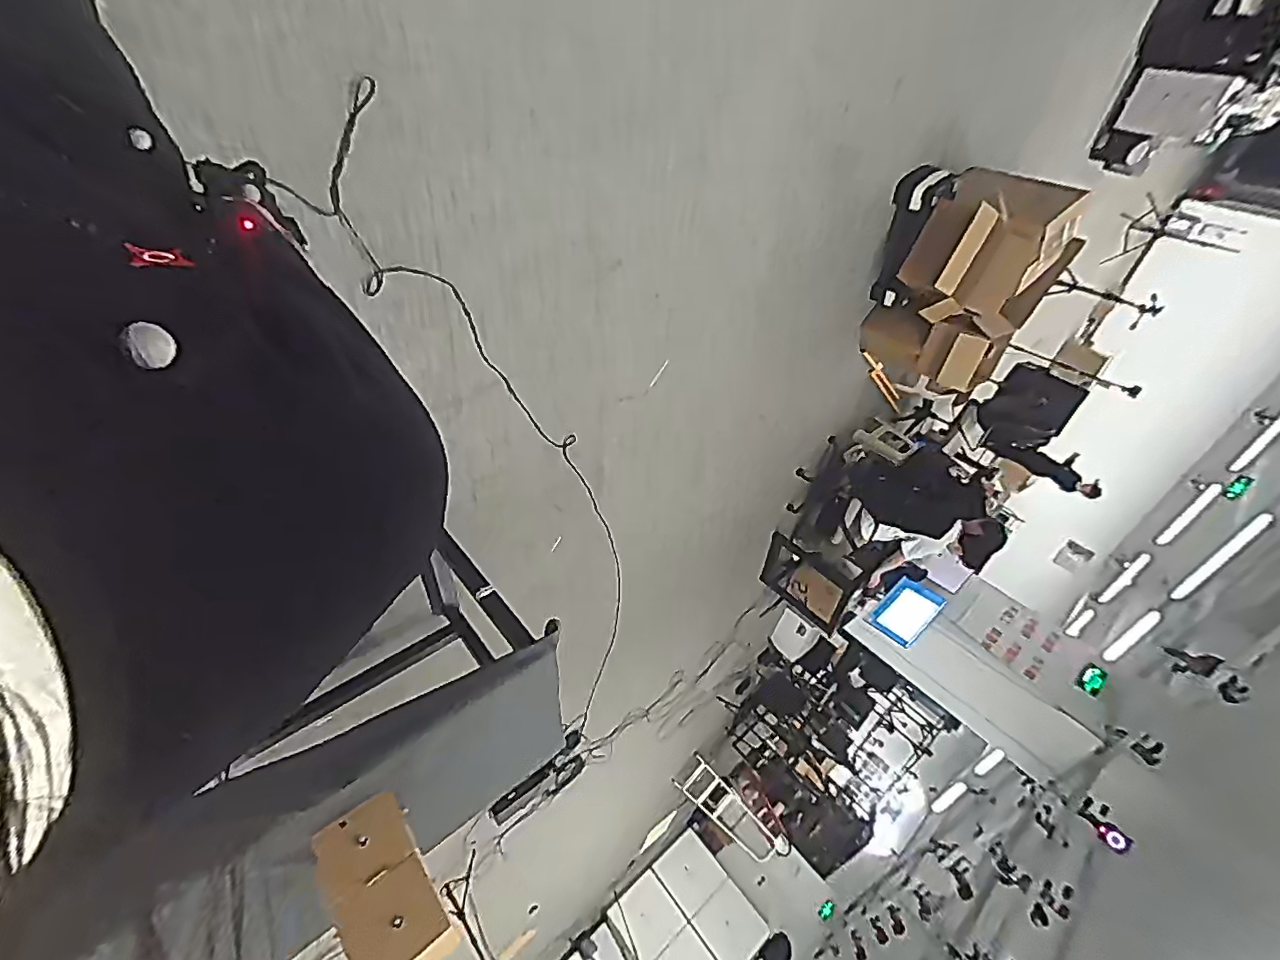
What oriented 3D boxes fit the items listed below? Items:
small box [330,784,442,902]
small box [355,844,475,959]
[{"bbox_3d":[-0.576,0.835,1.231,0.168,0.176,0.179,-26,139,-32],"label":"small box"},{"bbox_3d":[-0.474,0.922,1.135,0.179,0.176,0.168,-28,141,-32],"label":"small box"}]
